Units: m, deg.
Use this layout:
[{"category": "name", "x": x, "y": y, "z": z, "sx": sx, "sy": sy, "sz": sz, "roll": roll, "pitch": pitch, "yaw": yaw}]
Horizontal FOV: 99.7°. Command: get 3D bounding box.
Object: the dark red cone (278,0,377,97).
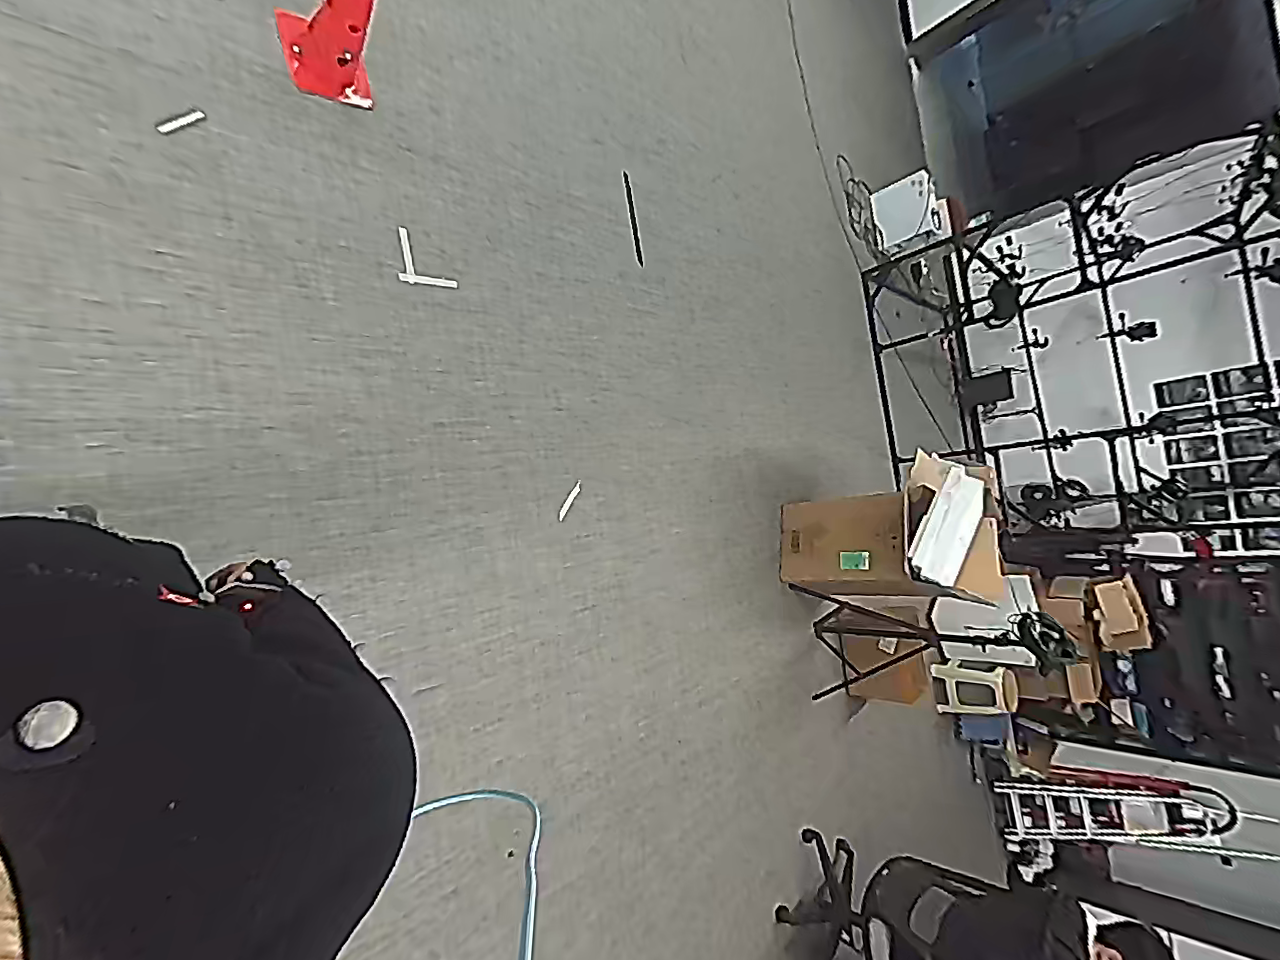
[{"category": "dark red cone", "x": -0.680, "y": -1.118, "z": 1.266, "sx": 0.201, "sy": 0.394, "sz": 0.202, "roll": -18, "pitch": 96, "yaw": -45}]
